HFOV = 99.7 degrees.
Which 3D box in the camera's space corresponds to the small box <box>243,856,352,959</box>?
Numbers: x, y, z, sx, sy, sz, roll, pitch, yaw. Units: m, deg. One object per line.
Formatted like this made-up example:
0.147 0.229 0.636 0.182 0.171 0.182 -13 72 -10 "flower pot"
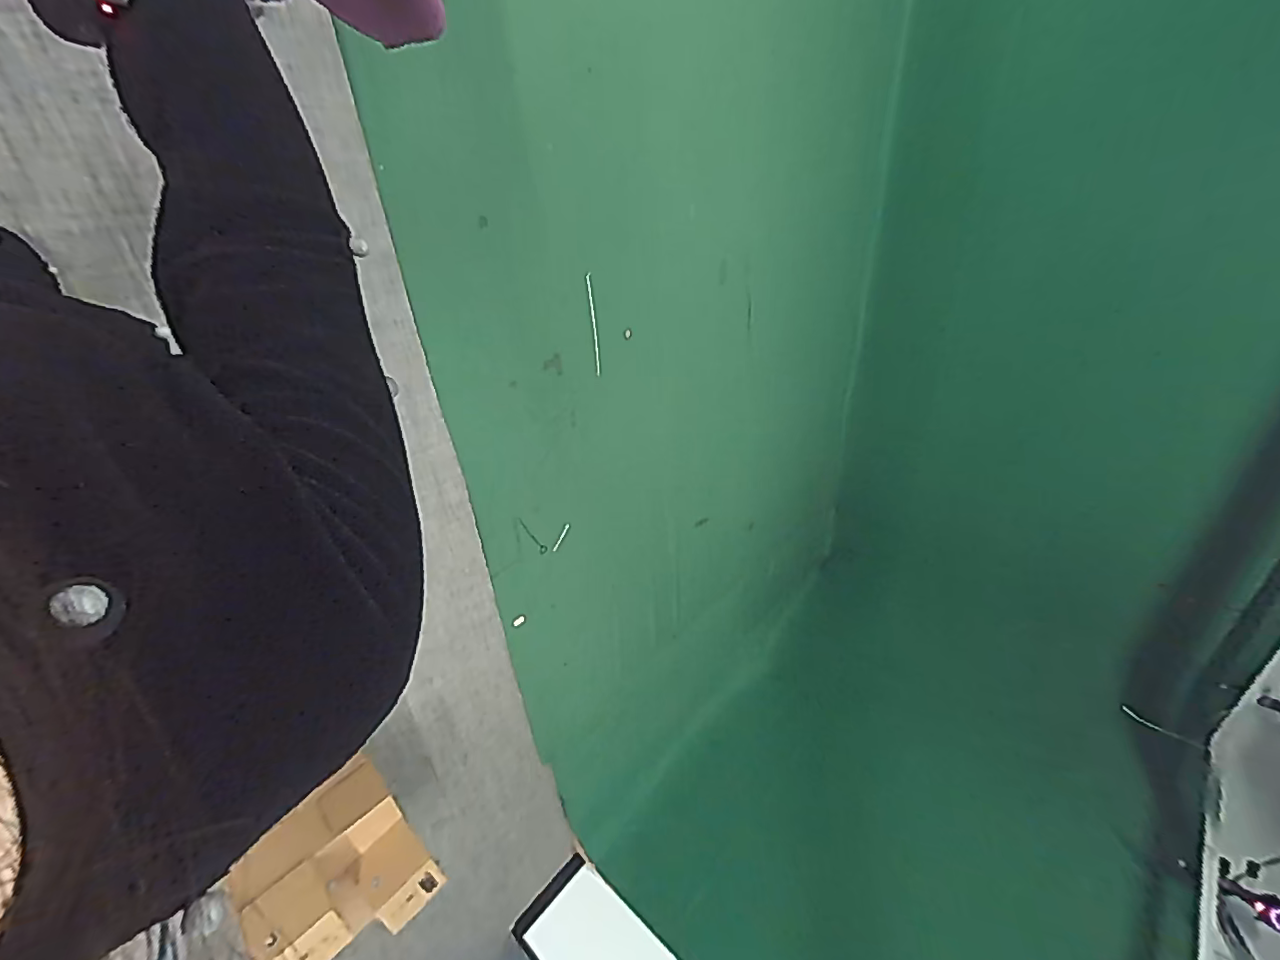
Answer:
-0.871 1.118 1.370 0.179 0.176 0.168 -30 131 -37 "small box"
